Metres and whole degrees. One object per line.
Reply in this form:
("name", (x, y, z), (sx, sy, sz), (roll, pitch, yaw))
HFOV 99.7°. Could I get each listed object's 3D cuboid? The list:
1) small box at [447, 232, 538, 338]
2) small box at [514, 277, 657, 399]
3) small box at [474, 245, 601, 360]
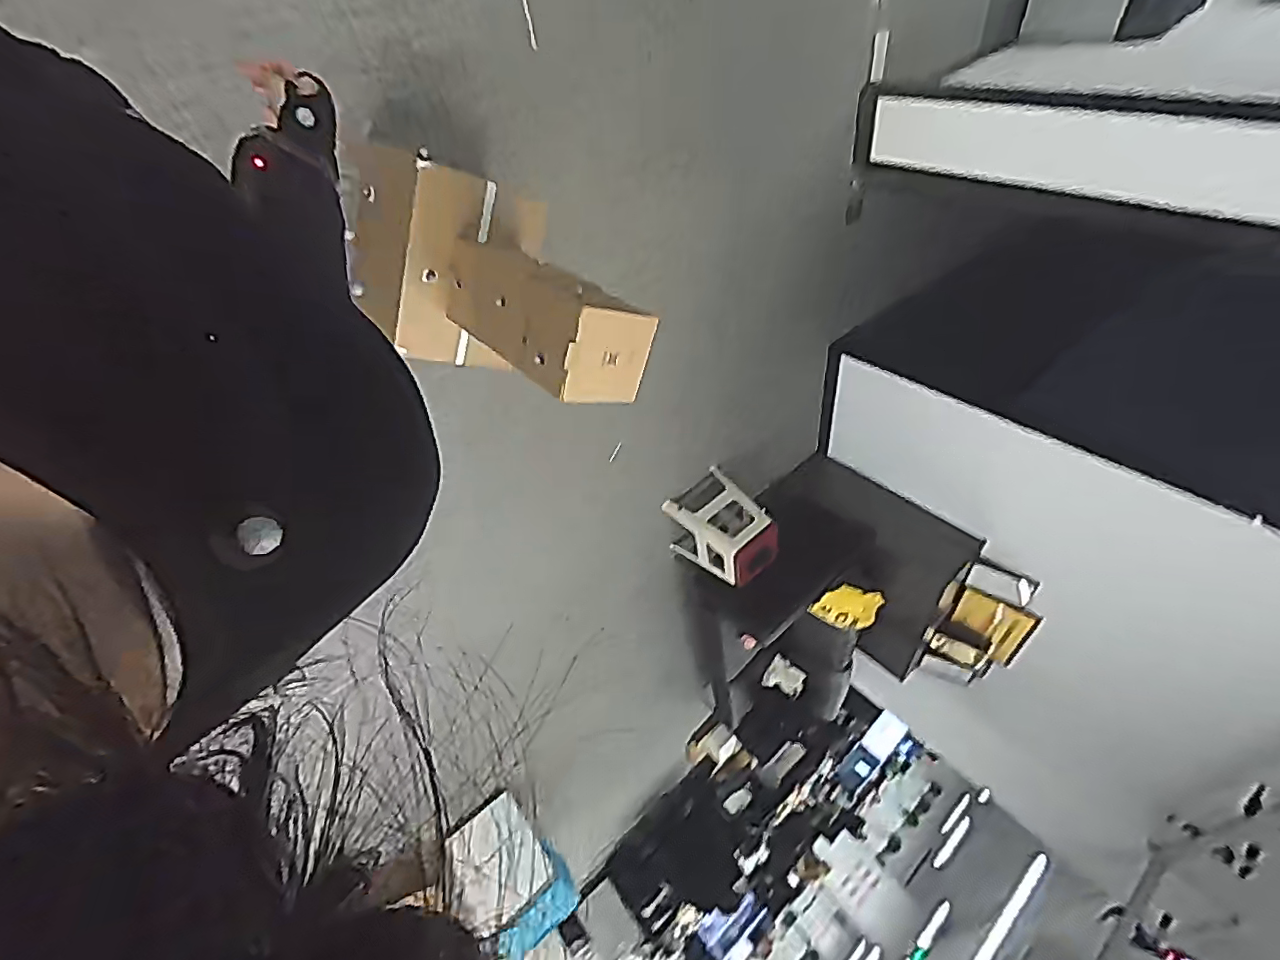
("small box", (-0.307, -0.420, 1.187), (0.168, 0.176, 0.179), (-10, 128, -44))
("small box", (-0.105, -0.258, 0.986), (0.179, 0.176, 0.168), (-8, 126, -45))
("small box", (-0.211, -0.343, 1.076), (0.168, 0.176, 0.179), (-5, 123, -46))
